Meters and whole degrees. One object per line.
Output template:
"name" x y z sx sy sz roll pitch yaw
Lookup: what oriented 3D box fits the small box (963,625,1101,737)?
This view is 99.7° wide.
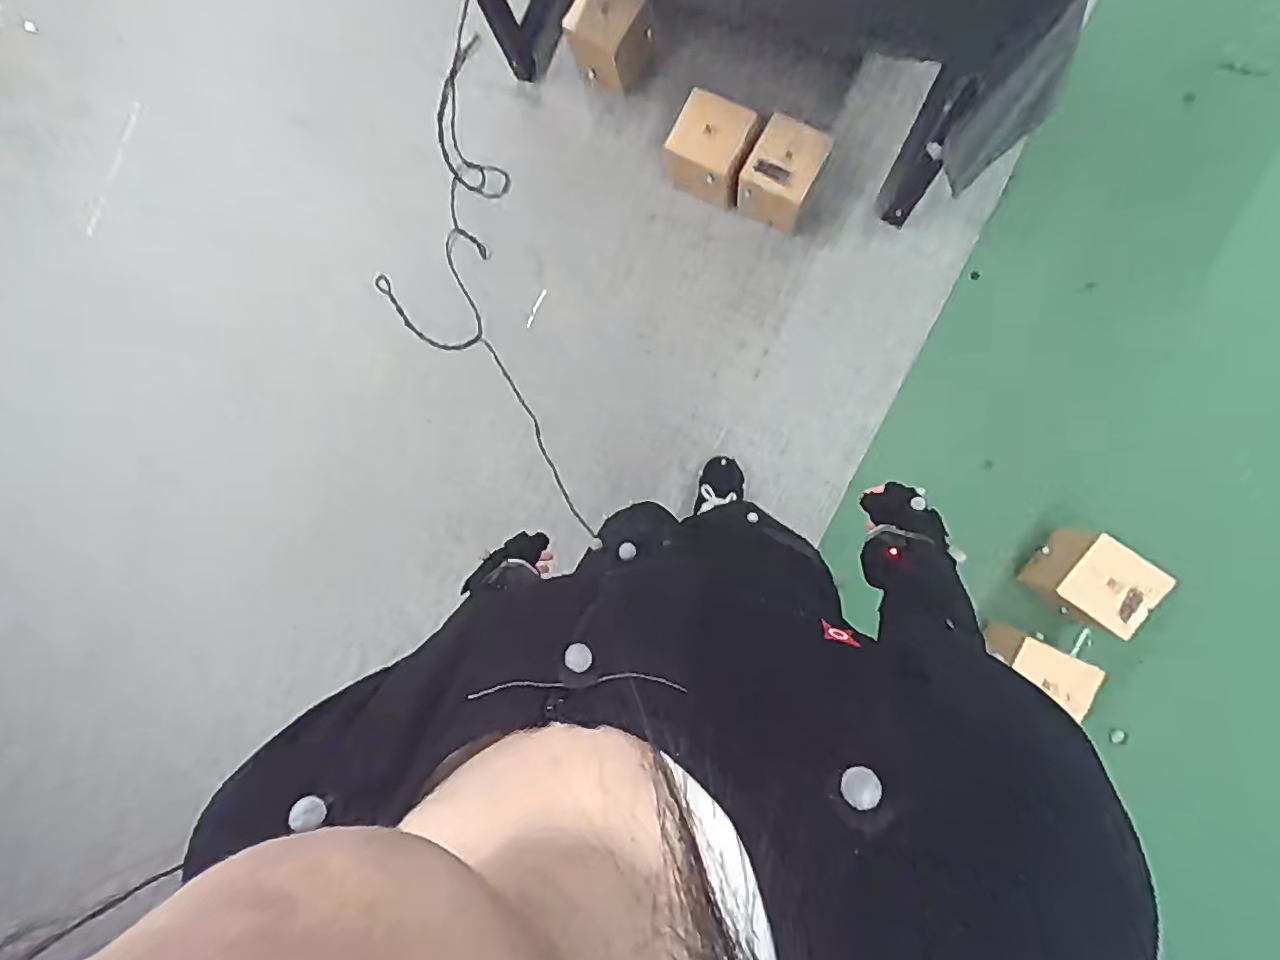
"small box" 0.905 0.458 1.269 0.179 0.176 0.168 24 93 7

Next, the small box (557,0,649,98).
"small box" -0.089 -1.175 1.428 0.168 0.176 0.179 34 93 8

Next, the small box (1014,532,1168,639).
"small box" 1.033 0.234 1.256 0.179 0.176 0.168 37 93 8
